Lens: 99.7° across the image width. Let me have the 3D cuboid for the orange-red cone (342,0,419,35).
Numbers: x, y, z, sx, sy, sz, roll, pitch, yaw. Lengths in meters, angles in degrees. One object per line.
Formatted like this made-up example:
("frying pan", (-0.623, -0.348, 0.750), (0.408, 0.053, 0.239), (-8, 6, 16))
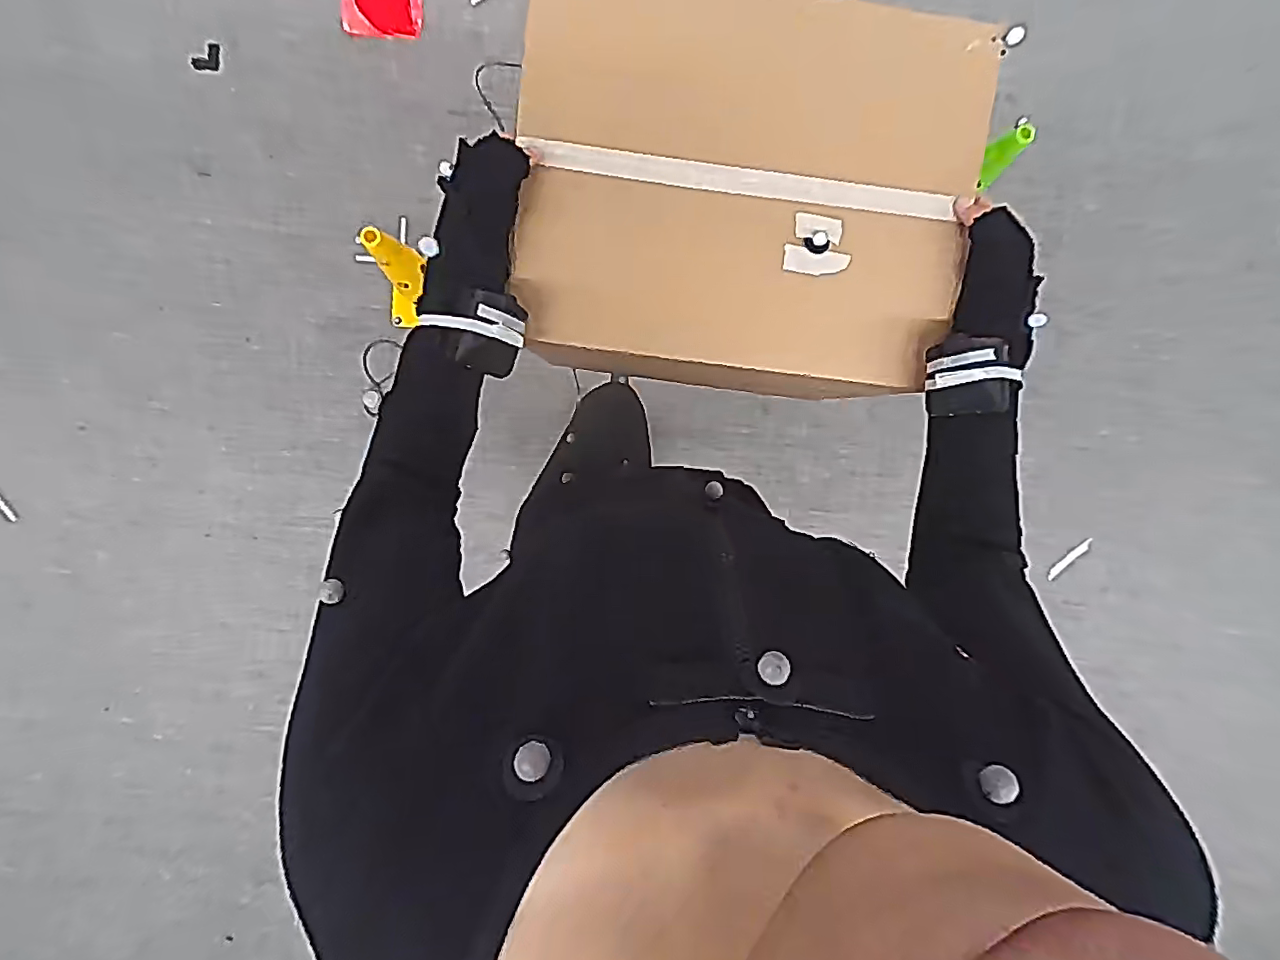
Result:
("orange-red cone", (-0.660, -1.231, 1.211), (0.198, 0.360, 0.199), (2, 94, -1))

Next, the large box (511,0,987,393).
("large box", (0.086, -0.282, 0.627), (0.408, 0.320, 0.320), (6, 97, -3))
